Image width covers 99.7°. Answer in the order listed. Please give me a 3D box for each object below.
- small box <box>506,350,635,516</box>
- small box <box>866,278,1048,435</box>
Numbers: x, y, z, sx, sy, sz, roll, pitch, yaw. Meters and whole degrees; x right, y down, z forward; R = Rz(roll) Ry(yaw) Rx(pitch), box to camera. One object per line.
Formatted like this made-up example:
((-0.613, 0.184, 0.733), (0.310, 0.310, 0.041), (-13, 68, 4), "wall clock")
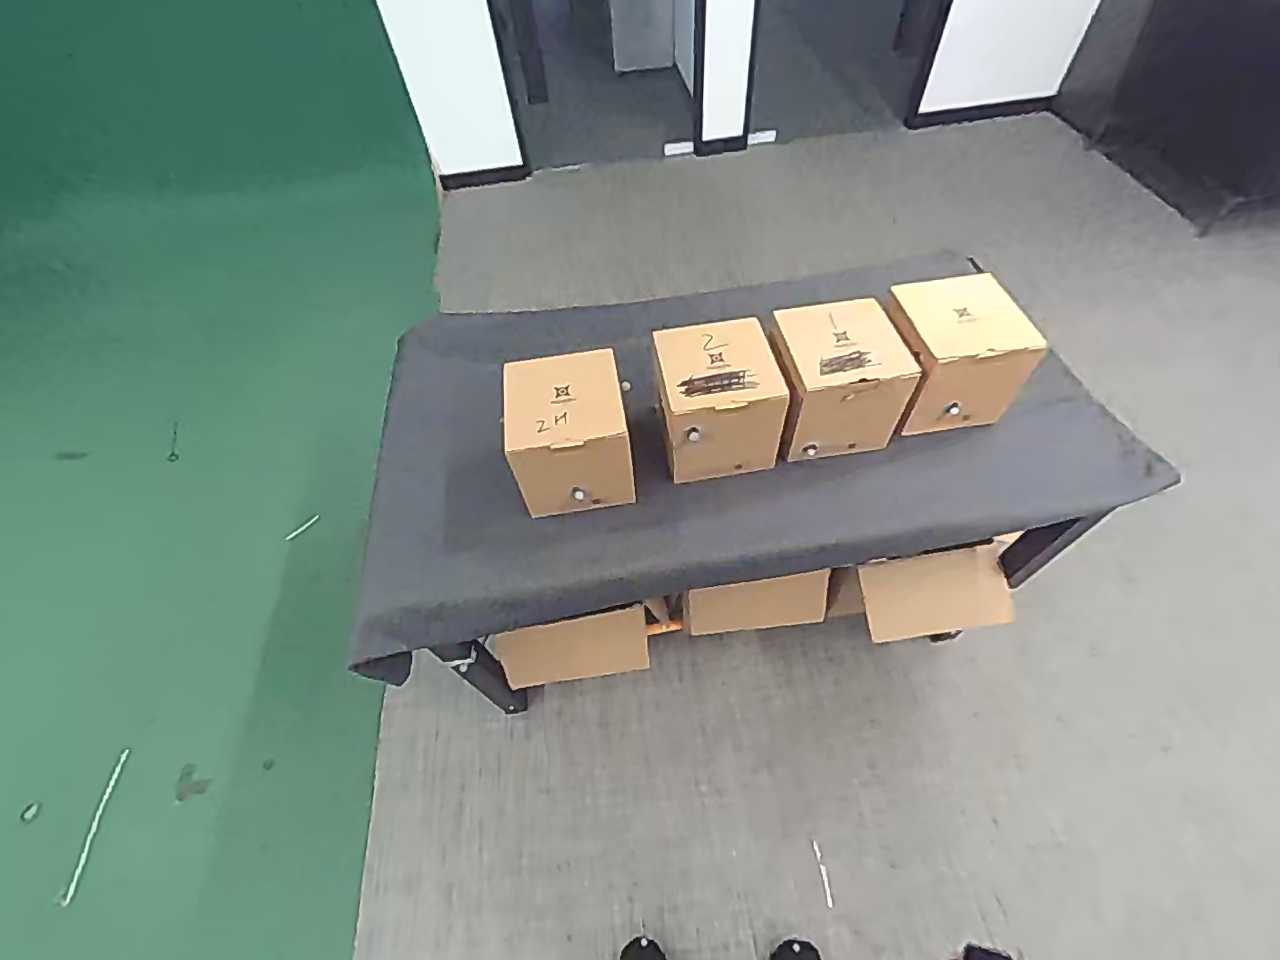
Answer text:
((-0.102, -0.069, 0.824), (0.168, 0.176, 0.179), (-9, 54, -2), "small box")
((0.492, -0.198, 0.877), (0.168, 0.176, 0.179), (-8, 55, -1), "small box")
